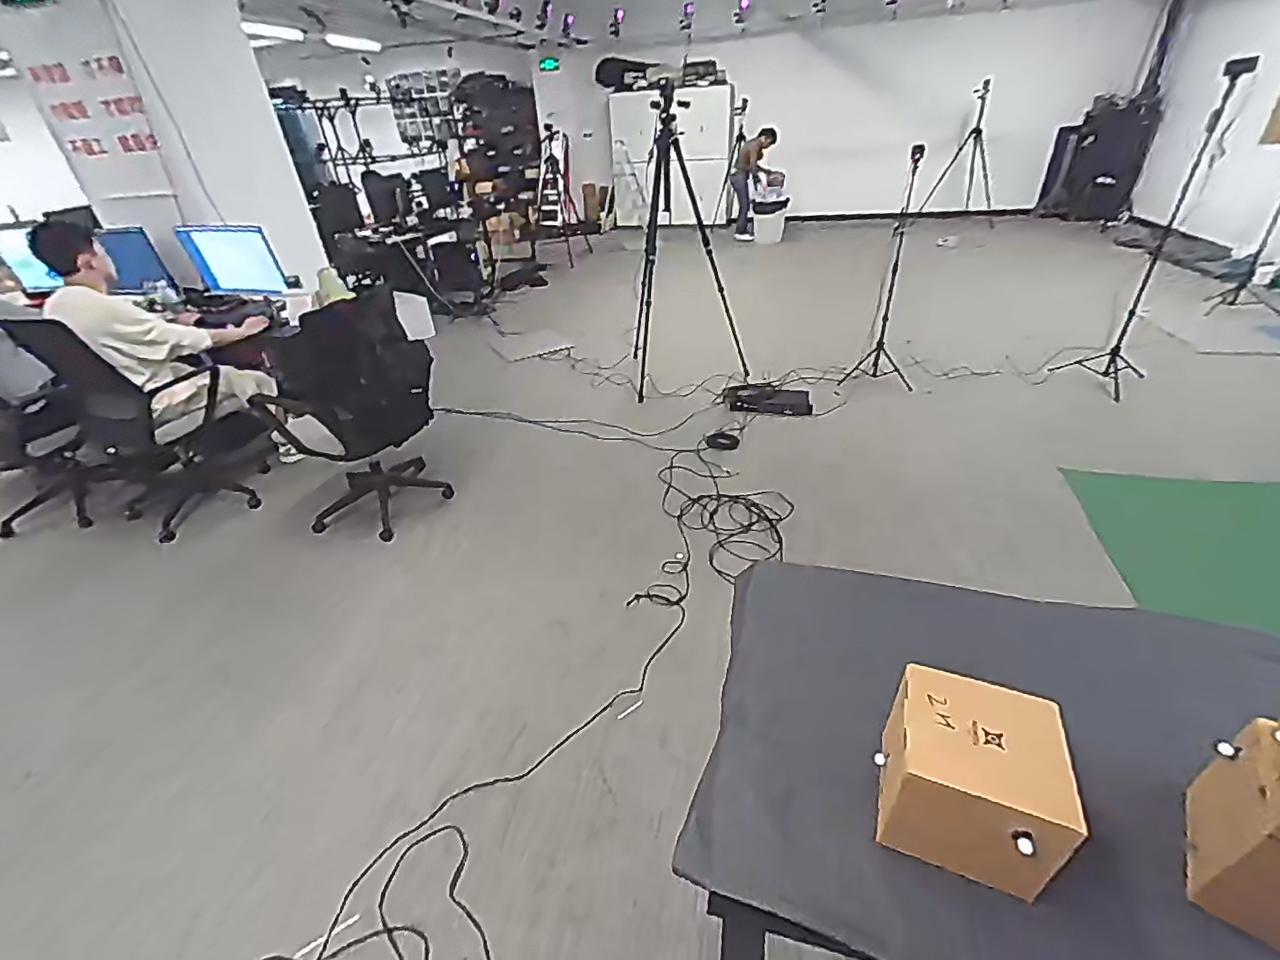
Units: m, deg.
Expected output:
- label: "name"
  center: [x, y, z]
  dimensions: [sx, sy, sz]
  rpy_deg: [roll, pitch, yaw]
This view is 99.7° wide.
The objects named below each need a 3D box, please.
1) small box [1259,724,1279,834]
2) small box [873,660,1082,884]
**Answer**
- label: "small box"
  center: [0.737, 0.280, 0.489]
  dimensions: [0.168, 0.176, 0.179]
  rpy_deg: [-29, 41, -34]
- label: "small box"
  center: [0.411, 0.369, 0.688]
  dimensions: [0.179, 0.176, 0.168]
  rpy_deg: [11, 35, 21]
